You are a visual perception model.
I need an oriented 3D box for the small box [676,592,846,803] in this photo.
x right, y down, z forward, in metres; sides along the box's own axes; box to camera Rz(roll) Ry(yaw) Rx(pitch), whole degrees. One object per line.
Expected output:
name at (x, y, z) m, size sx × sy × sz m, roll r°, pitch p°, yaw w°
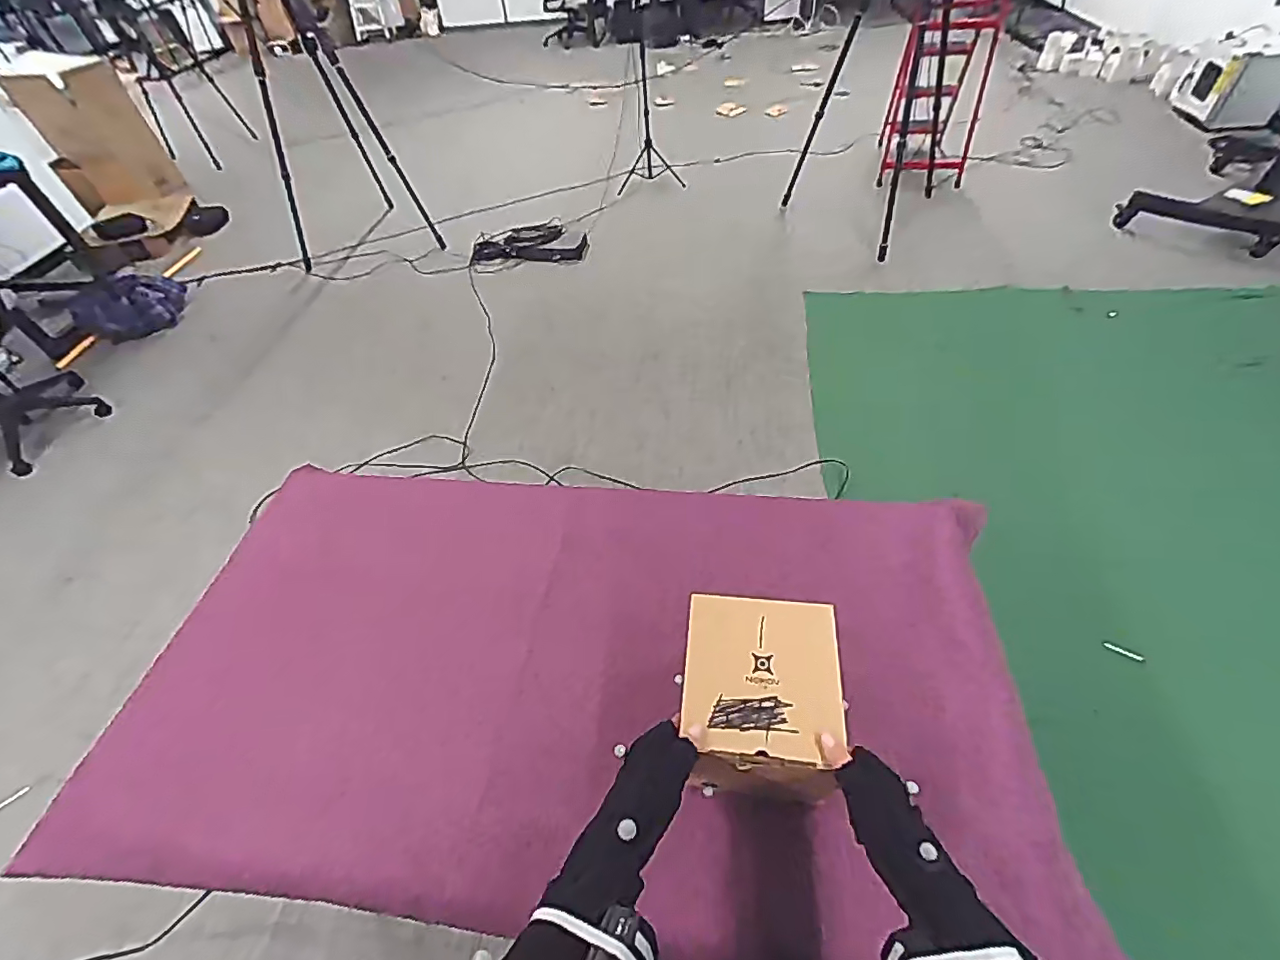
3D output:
small box at (0.137, 0.258, 0.634) m, size 0.168 × 0.176 × 0.179 m, roll 7°, pitch 51°, yaw 9°
